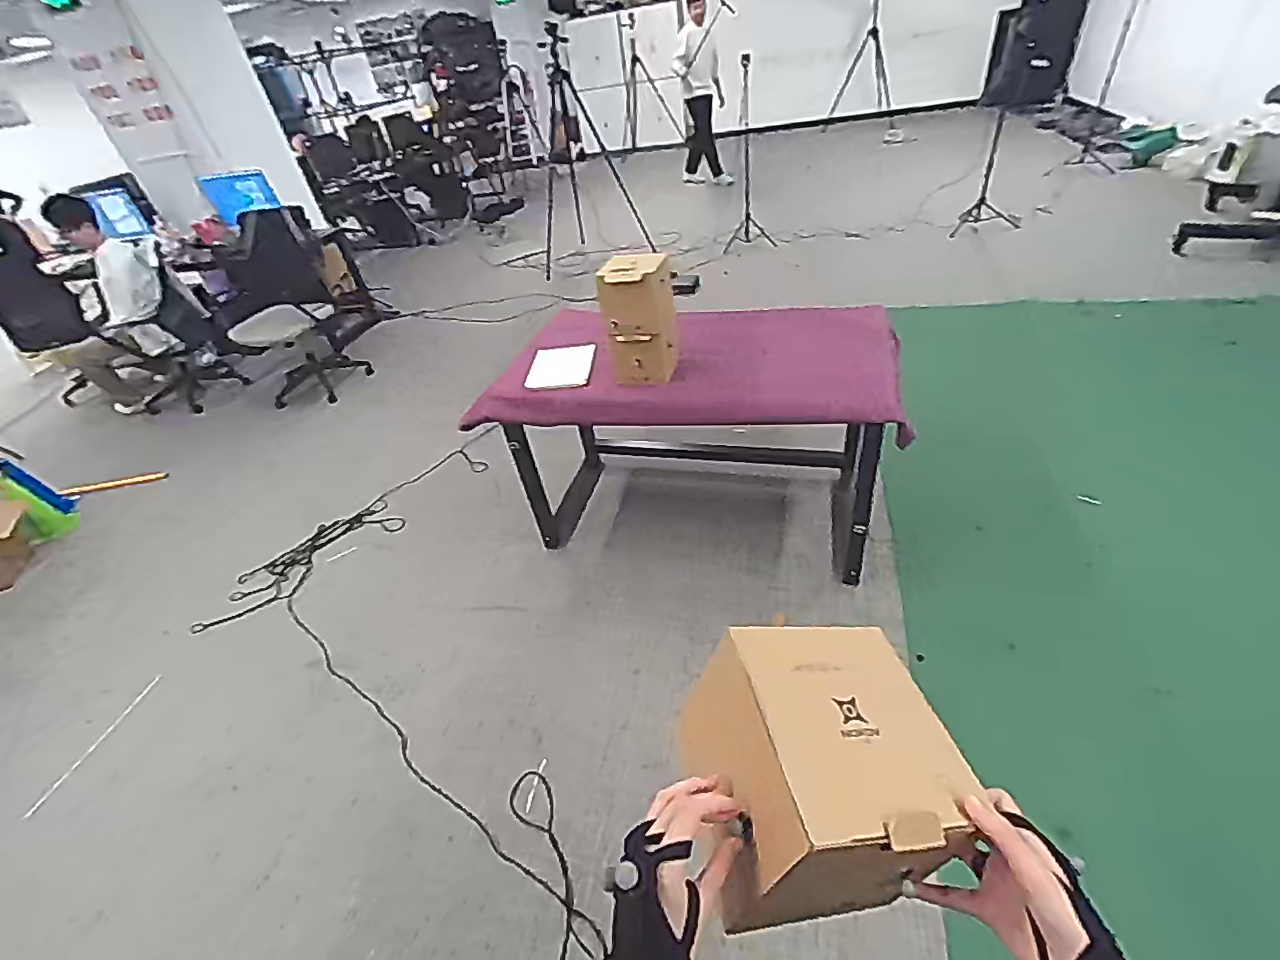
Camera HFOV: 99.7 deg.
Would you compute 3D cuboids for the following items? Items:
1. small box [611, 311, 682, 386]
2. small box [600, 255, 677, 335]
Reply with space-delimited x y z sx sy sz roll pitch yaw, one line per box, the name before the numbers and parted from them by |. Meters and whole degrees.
small box | 0.028 -0.400 1.644 0.168 0.176 0.179 5 42 17
small box | 0.003 -0.523 1.537 0.168 0.176 0.179 5 40 18
